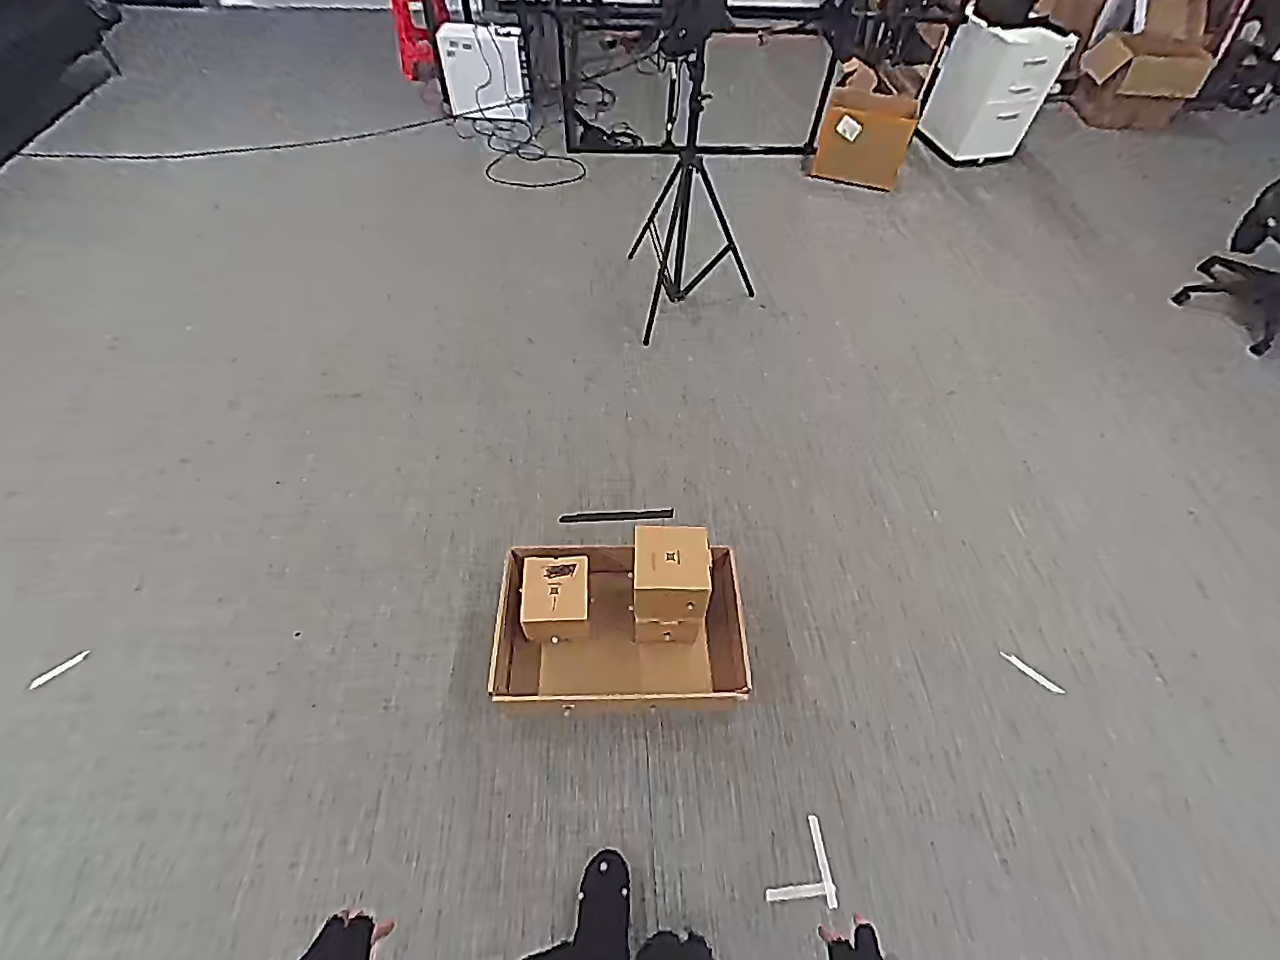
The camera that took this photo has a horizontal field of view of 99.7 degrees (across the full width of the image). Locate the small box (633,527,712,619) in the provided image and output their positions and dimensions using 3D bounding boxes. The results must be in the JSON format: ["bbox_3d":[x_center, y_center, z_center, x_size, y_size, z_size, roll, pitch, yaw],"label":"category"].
[{"bbox_3d":[0.073,0.228,1.306,0.179,0.176,0.168,0,53,0],"label":"small box"}]

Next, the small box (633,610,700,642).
[{"bbox_3d":[0.066,0.325,1.436,0.168,0.176,0.179,0,56,-2],"label":"small box"}]
